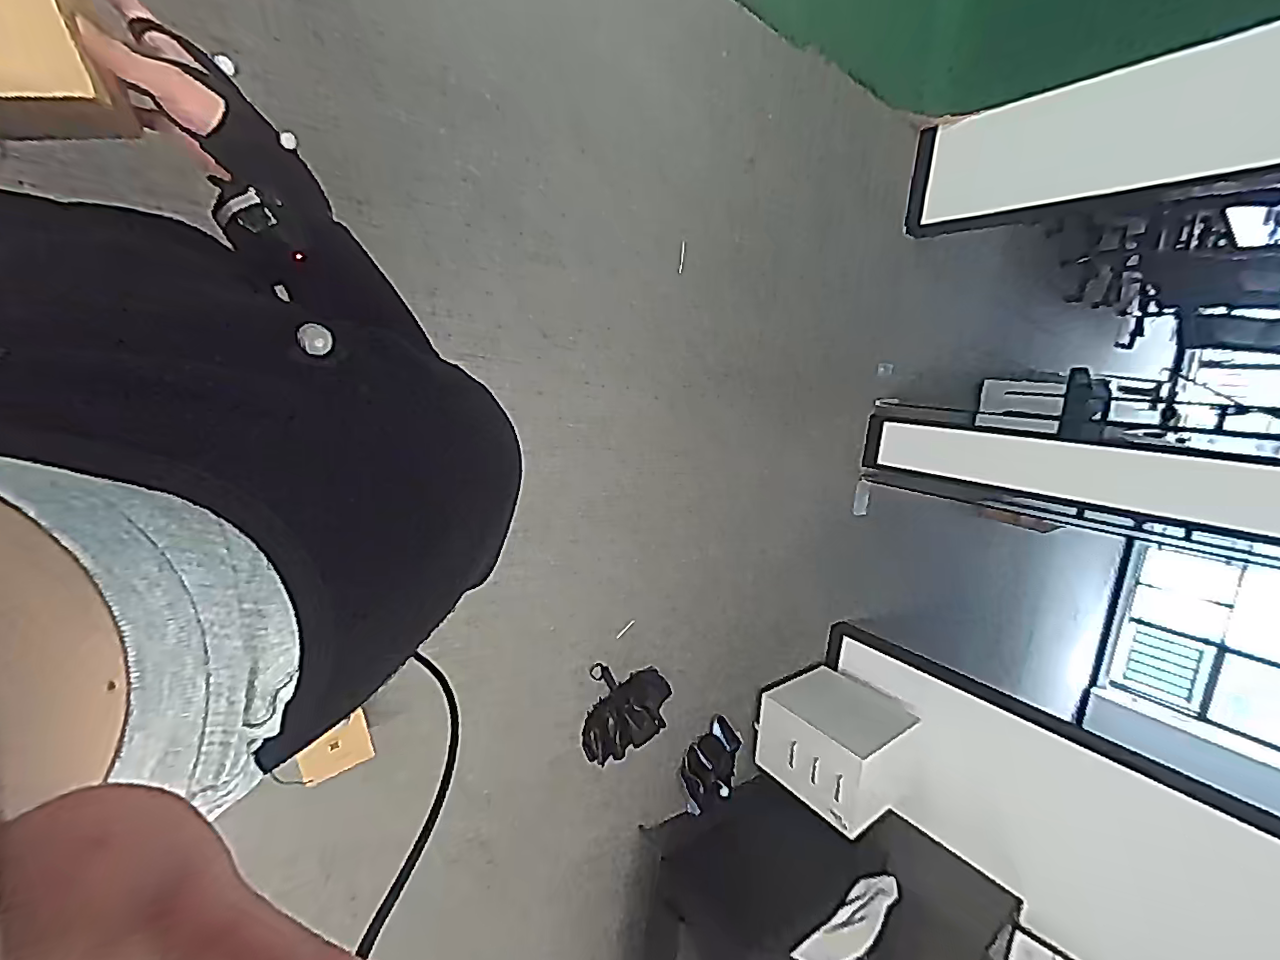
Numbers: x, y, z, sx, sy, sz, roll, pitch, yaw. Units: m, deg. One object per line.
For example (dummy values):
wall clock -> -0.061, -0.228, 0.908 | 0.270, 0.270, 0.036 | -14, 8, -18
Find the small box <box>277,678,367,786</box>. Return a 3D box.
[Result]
small box -> -0.851, 0.658, 1.443 | 0.168, 0.176, 0.179 | -16, 113, -32
